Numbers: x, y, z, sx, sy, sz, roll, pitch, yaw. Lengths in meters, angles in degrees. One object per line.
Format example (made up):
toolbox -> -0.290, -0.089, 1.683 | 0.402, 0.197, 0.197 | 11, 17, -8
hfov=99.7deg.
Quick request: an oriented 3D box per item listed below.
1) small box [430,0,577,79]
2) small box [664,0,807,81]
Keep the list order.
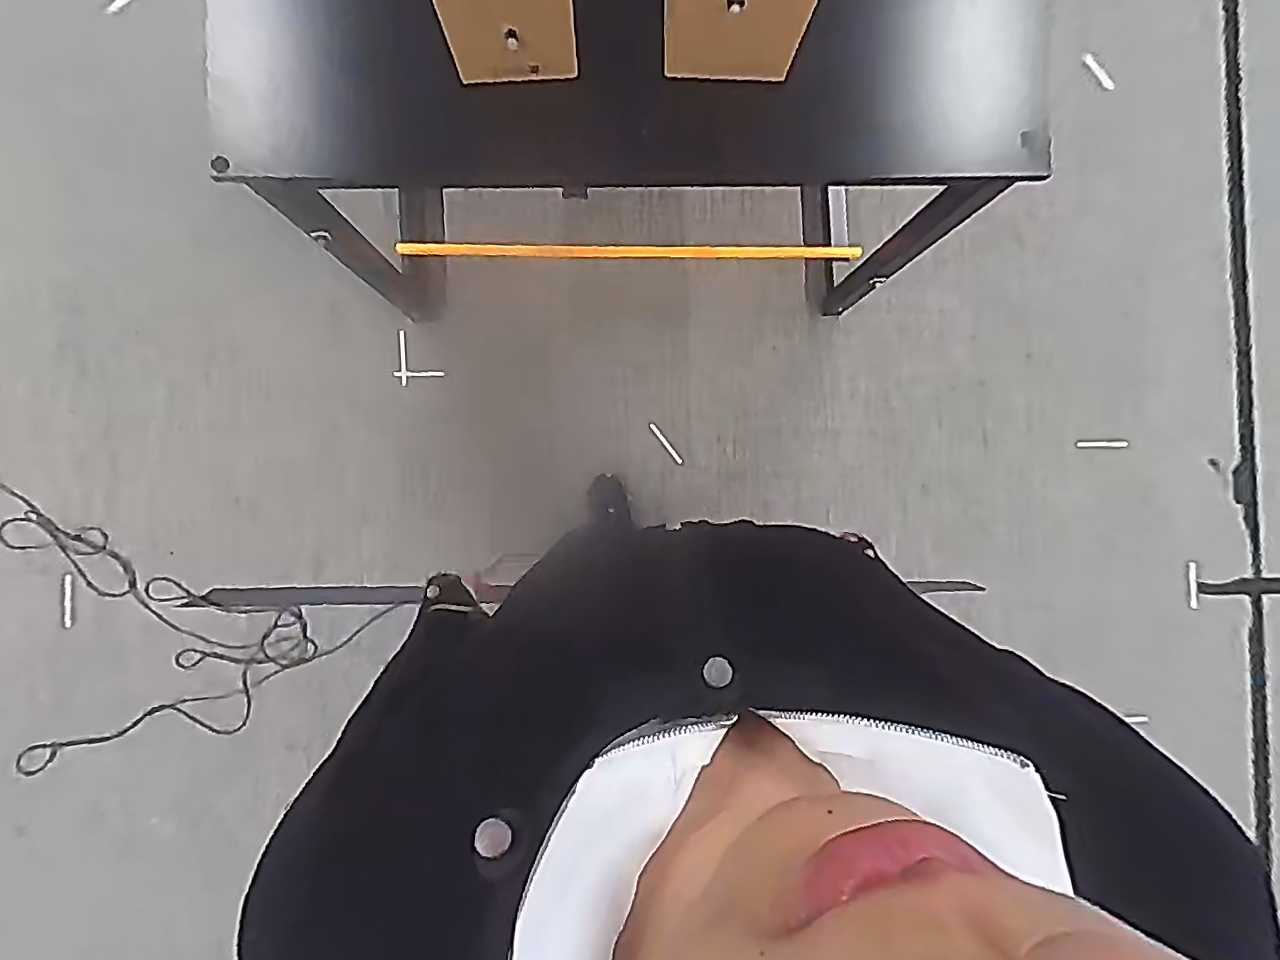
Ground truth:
small box -> -0.175, -0.655, 0.696 | 0.168, 0.176, 0.179 | -6, 90, -3
small box -> 0.124, -0.665, 0.710 | 0.179, 0.176, 0.168 | 0, 89, -3
